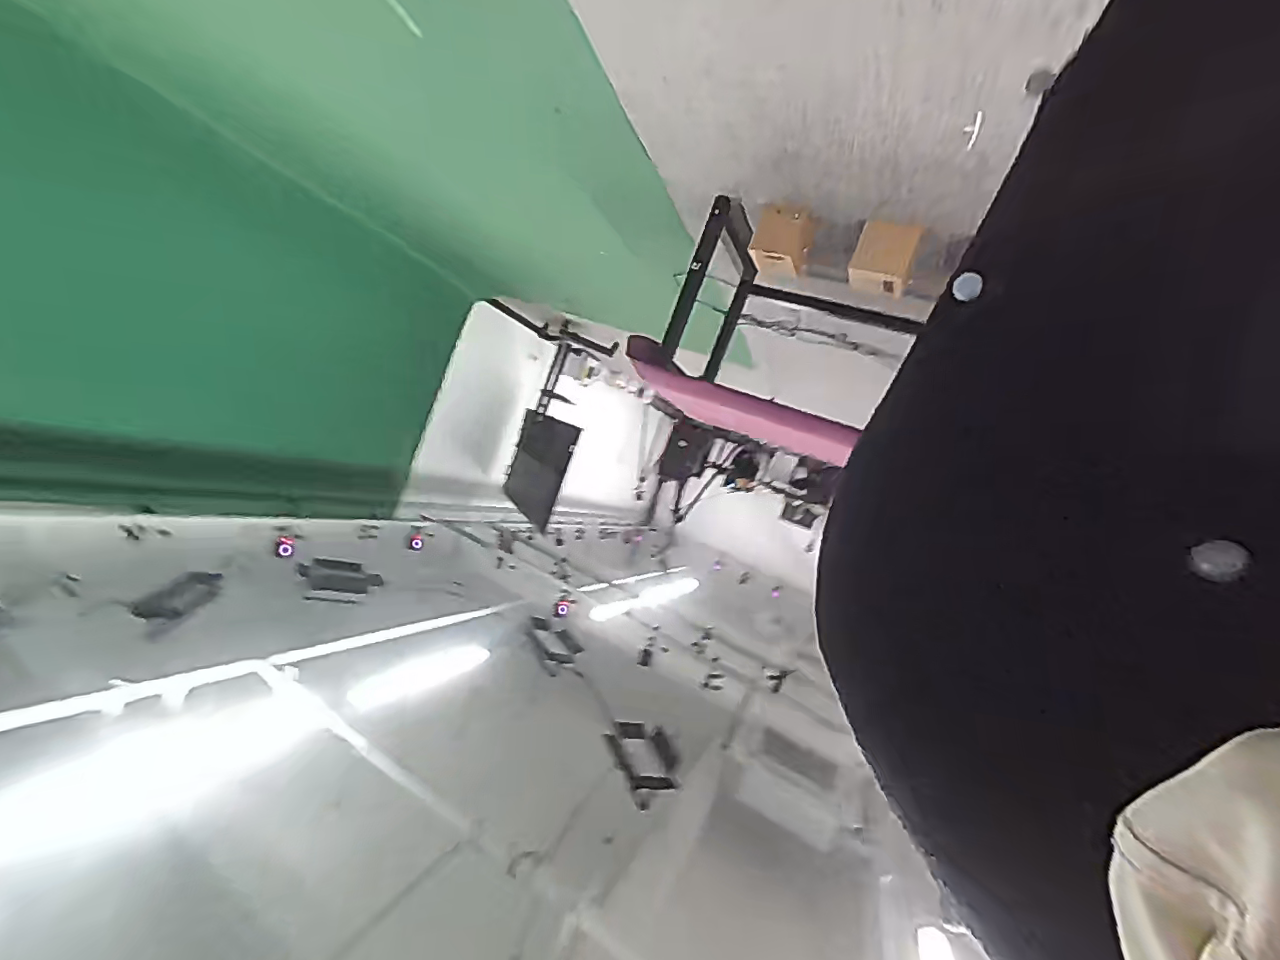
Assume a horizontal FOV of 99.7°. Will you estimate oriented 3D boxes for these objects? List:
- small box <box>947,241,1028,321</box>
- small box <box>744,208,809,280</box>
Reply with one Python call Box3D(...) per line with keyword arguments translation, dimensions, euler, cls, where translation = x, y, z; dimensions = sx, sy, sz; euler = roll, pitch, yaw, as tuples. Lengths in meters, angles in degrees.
Box3D(translation=(1.076, -0.619, 1.680), dimensions=(0.168, 0.176, 0.179), euler=(23, -177, 30), cls="small box")
Box3D(translation=(0.499, -0.860, 1.965), dimensions=(0.168, 0.176, 0.179), euler=(23, -176, 24), cls="small box")
